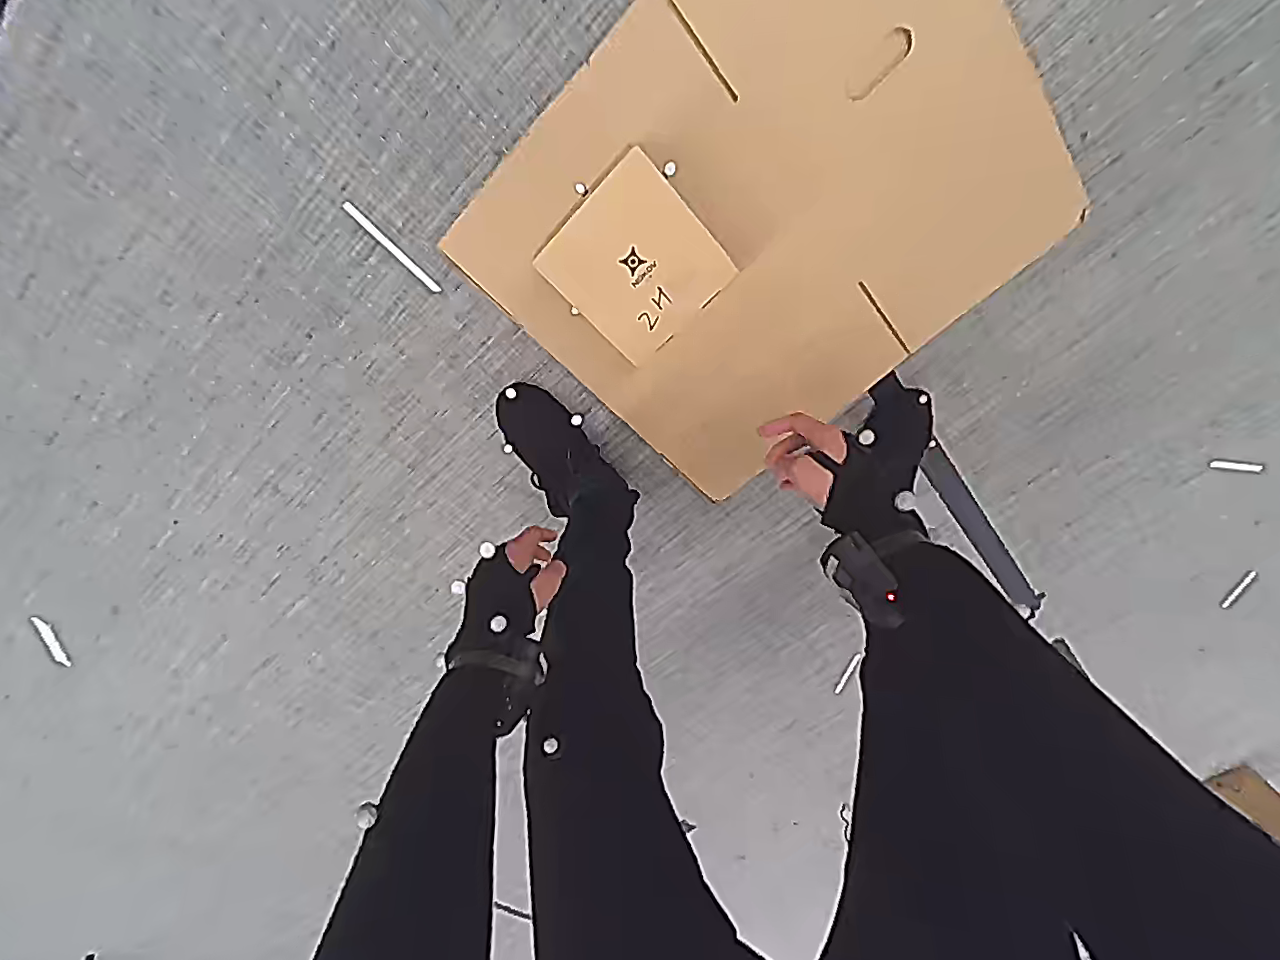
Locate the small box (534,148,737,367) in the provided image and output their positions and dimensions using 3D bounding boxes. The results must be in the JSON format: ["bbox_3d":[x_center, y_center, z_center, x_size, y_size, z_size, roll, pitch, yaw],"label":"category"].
[{"bbox_3d":[-0.008,-0.279,0.679,0.168,0.176,0.179,-40,116,19],"label":"small box"}]
